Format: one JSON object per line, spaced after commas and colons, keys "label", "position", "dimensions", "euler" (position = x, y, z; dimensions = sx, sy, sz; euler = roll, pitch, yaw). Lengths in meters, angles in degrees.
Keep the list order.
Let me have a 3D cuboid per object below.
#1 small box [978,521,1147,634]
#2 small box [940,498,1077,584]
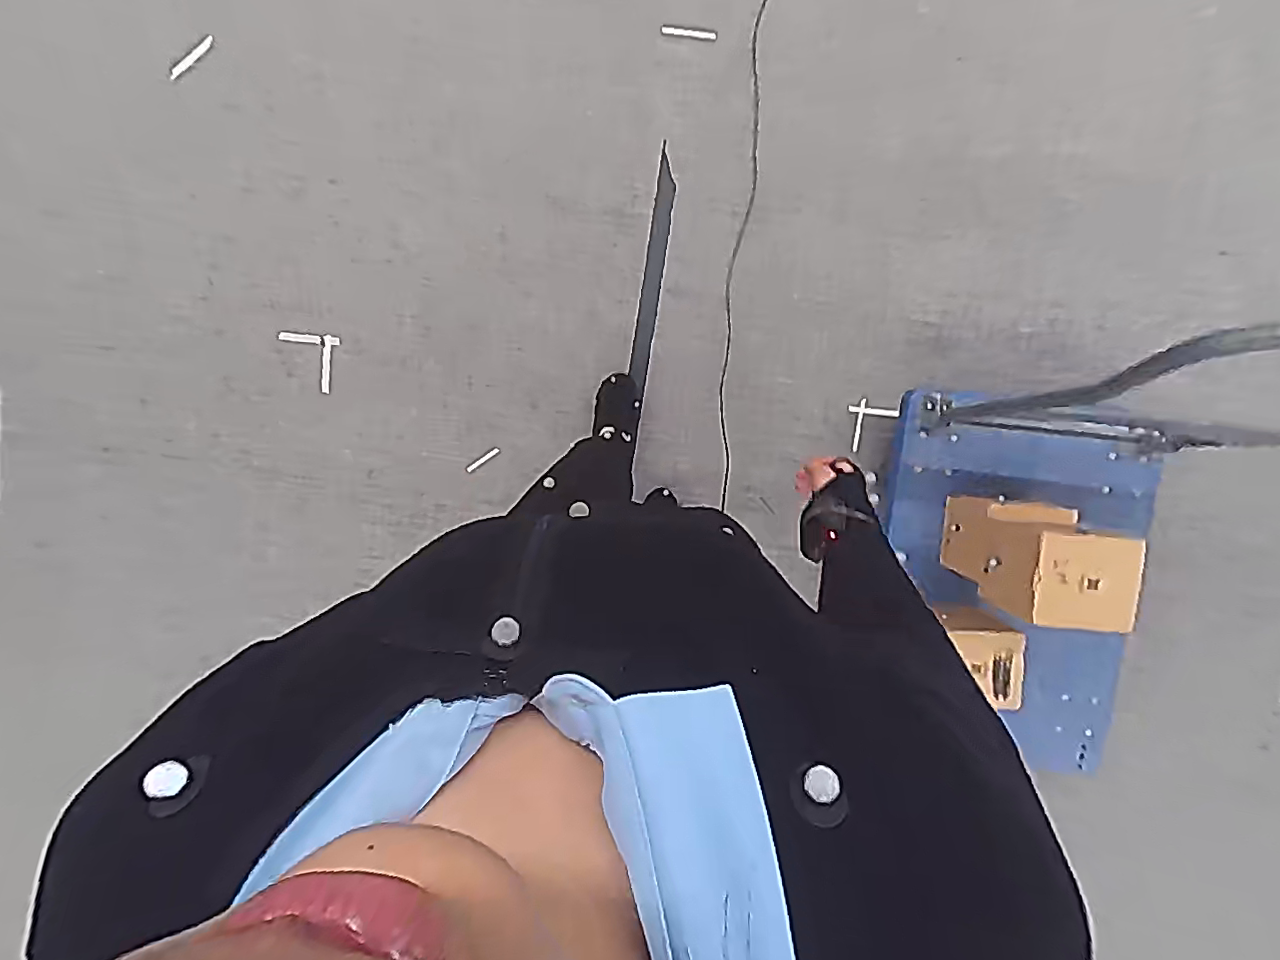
{"label": "small box", "position": [0.778, 0.174, 1.013], "dimensions": [0.179, 0.176, 0.168], "euler": [4, 95, 4]}
{"label": "small box", "position": [0.790, 0.134, 1.174], "dimensions": [0.179, 0.176, 0.168], "euler": [4, 95, 3]}
